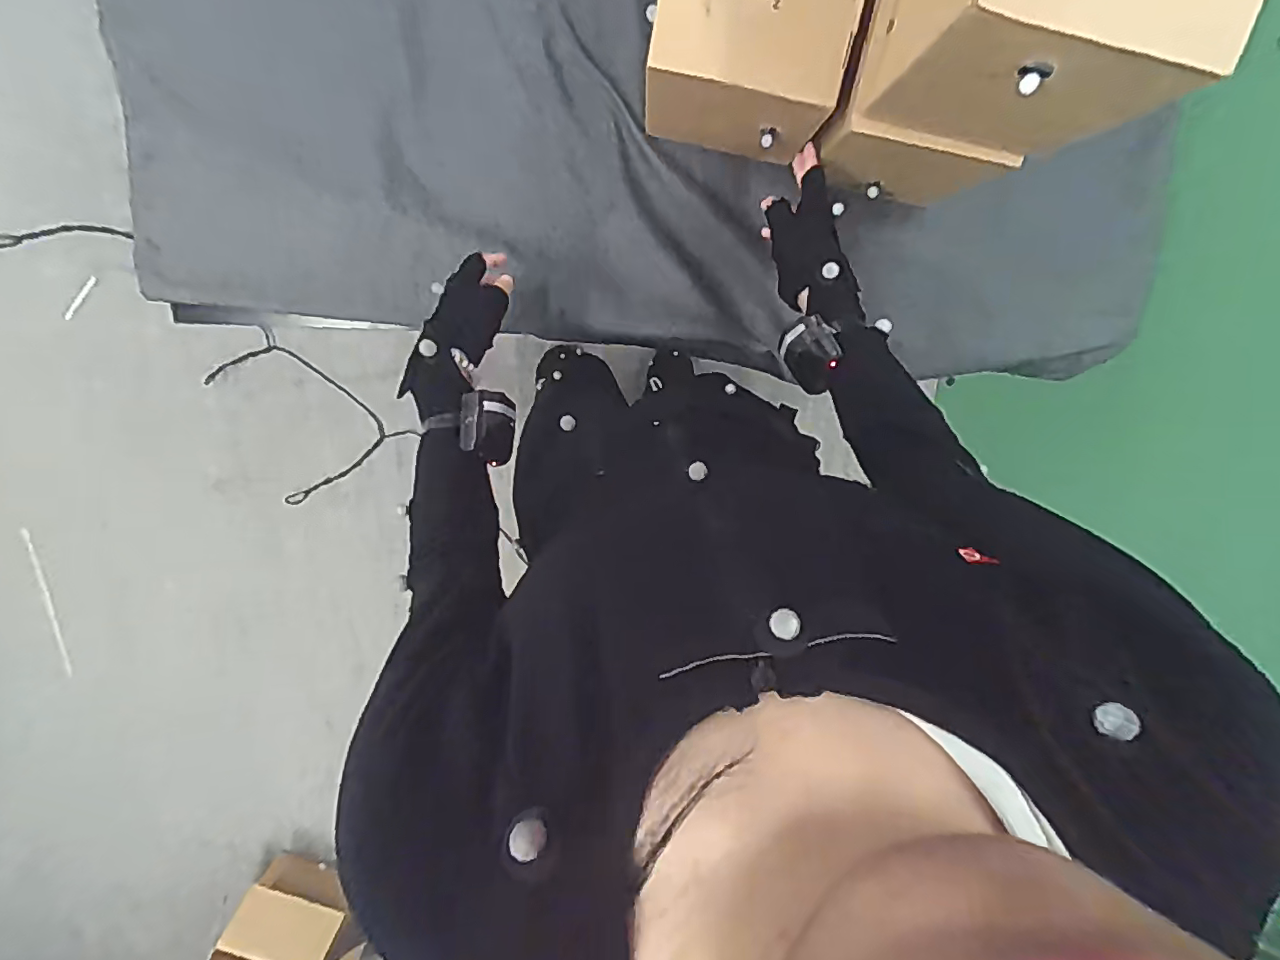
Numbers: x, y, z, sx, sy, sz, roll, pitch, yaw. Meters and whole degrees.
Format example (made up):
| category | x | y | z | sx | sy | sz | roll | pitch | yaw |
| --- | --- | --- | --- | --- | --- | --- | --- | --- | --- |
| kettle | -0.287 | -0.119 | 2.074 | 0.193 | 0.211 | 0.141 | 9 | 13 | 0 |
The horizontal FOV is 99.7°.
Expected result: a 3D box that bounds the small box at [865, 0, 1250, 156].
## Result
| category | x | y | z | sx | sy | sz | roll | pitch | yaw |
| --- | --- | --- | --- | --- | --- | --- | --- | --- | --- |
| small box | 0.295 | -0.363 | 0.395 | 0.179 | 0.176 | 0.168 | 11 | 105 | -3 |
